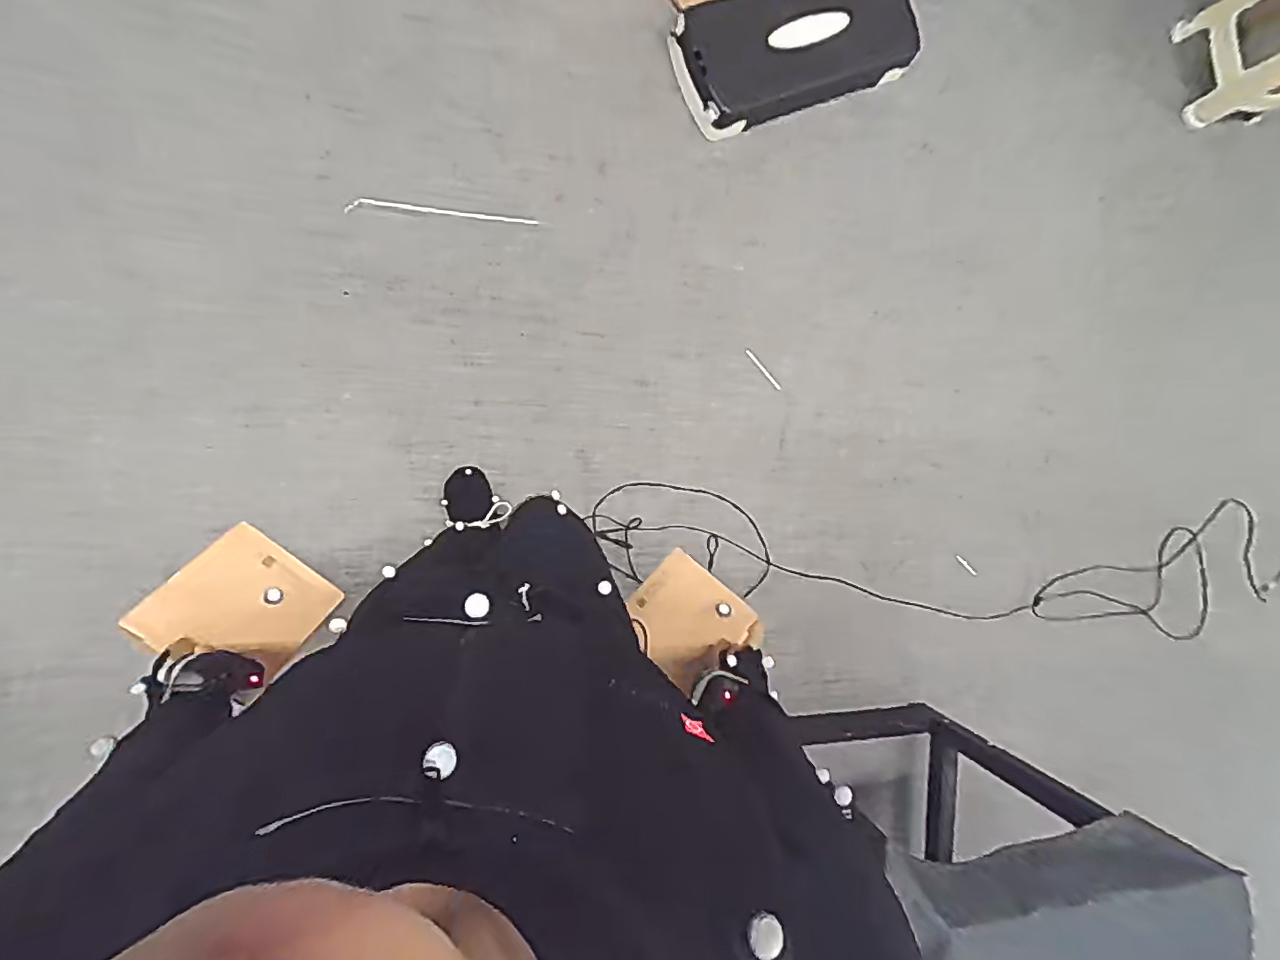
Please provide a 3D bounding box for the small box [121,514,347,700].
[{"bbox_3d":[-0.530,0.173,0.729,0.168,0.179,0.176,44,51,-14],"label":"small box"}]
